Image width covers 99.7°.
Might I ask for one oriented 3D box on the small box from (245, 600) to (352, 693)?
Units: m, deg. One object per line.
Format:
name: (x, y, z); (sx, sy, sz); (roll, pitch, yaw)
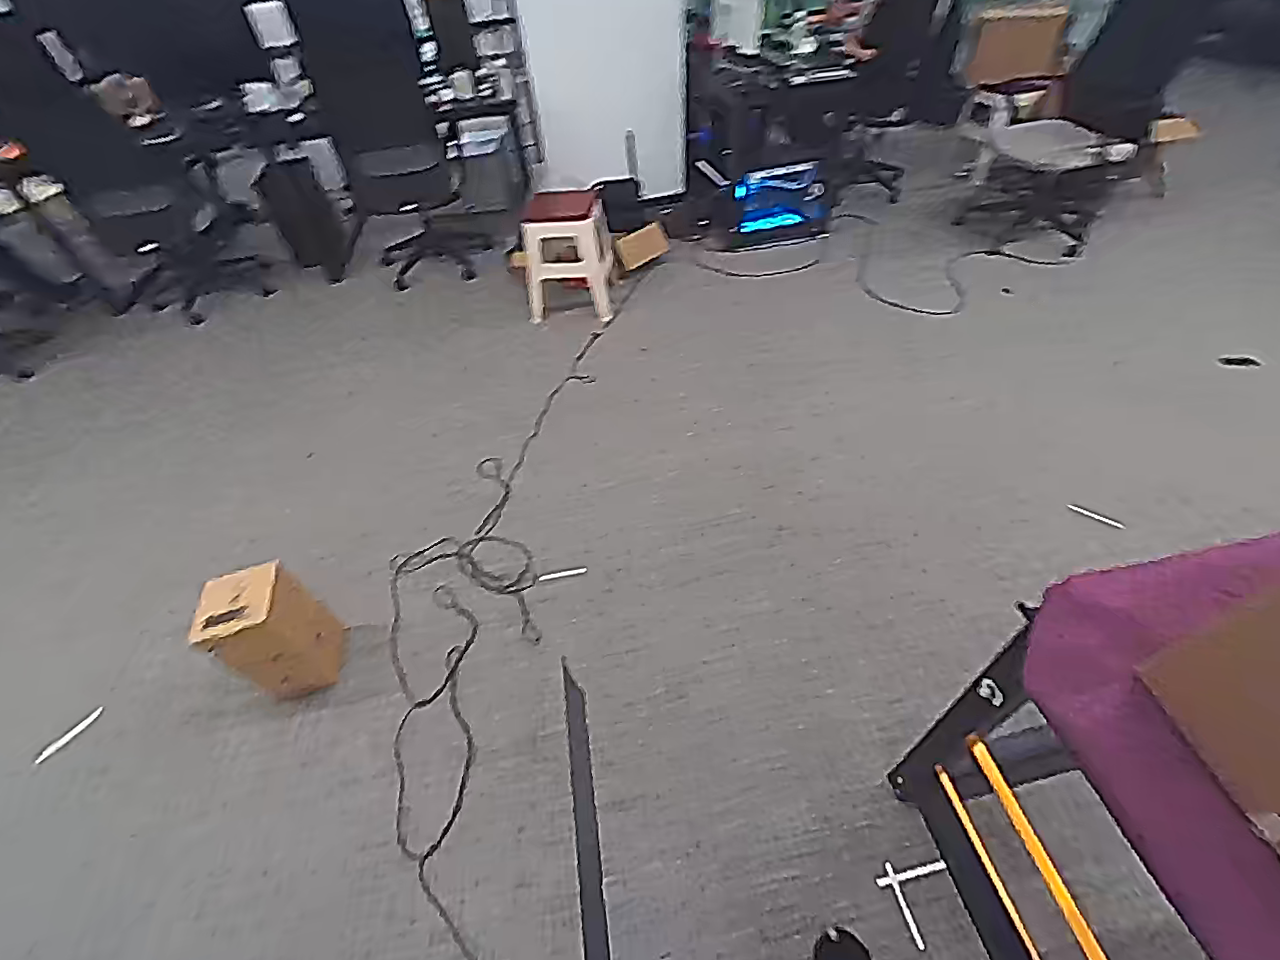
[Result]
small box: (-0.899, 0.451, 1.444); (0.168, 0.176, 0.179); (-12, 47, -4)
